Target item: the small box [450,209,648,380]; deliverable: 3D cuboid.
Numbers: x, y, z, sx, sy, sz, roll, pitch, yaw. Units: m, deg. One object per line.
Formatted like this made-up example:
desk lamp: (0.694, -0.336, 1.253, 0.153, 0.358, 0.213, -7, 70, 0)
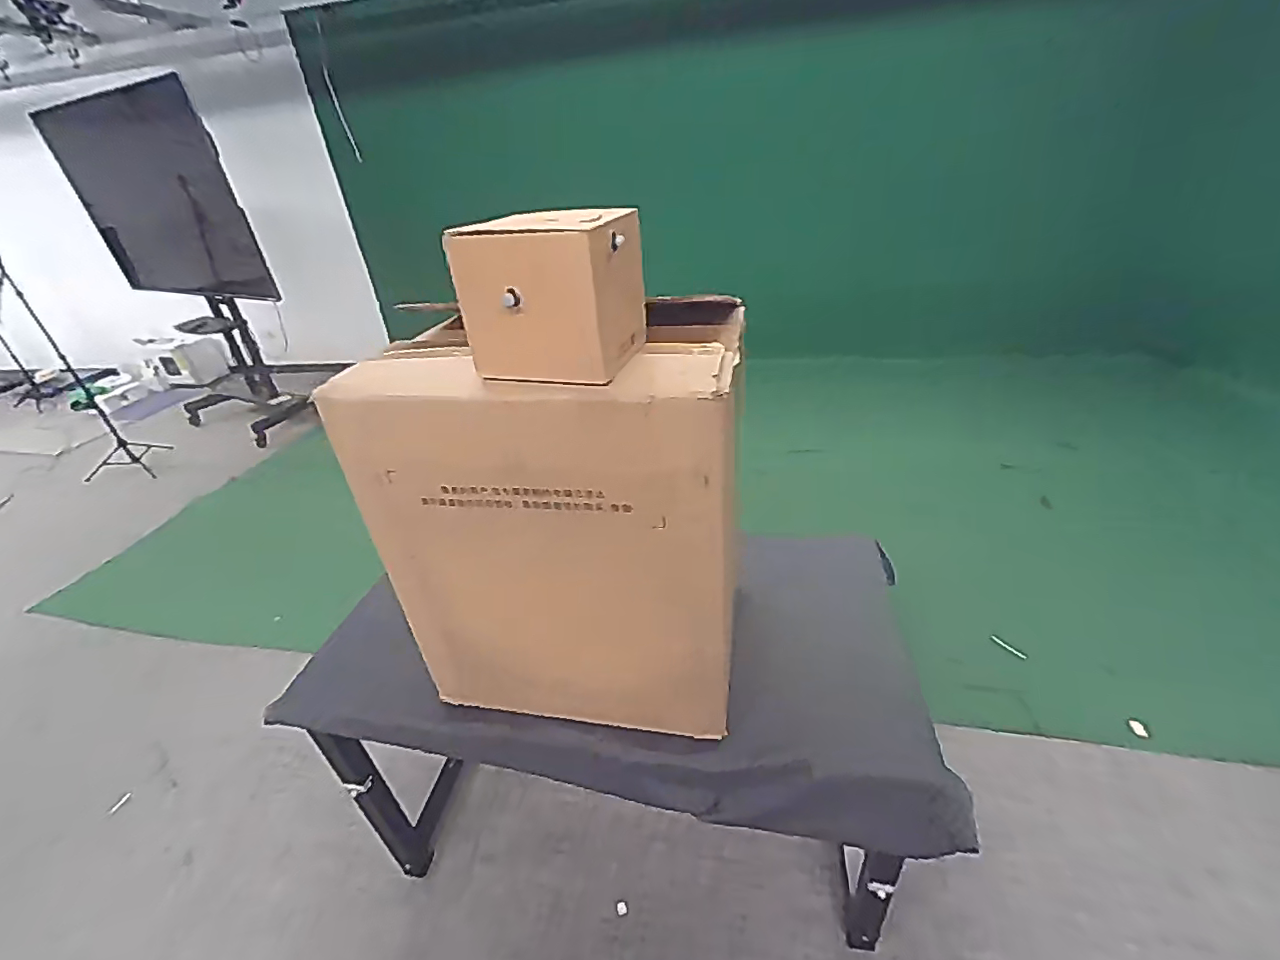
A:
small box: (-0.098, -0.232, 0.674, 0.179, 0.176, 0.168, 6, 34, 17)
